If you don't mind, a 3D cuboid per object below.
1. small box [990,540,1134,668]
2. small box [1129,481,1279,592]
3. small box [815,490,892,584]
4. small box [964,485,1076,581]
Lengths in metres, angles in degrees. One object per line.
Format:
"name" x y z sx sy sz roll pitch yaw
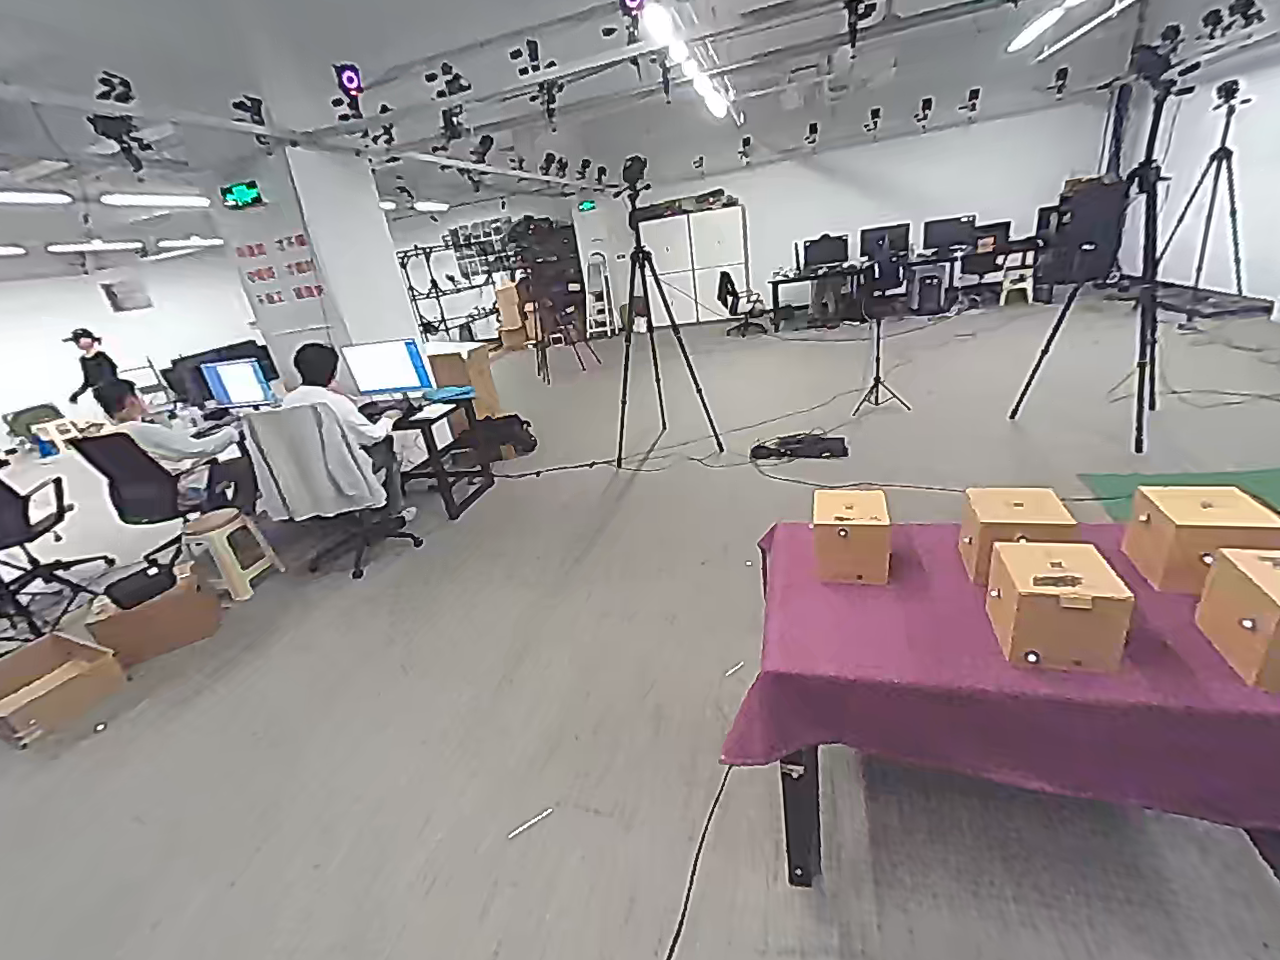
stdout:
"small box" 0.776 0.228 1.015 0.168 0.176 0.179 -1 24 20
"small box" 1.160 0.115 1.119 0.168 0.176 0.179 -1 24 21
"small box" 0.521 0.135 1.333 0.168 0.176 0.179 -1 24 19
"small box" 0.850 0.123 1.229 0.179 0.176 0.168 0 26 21
